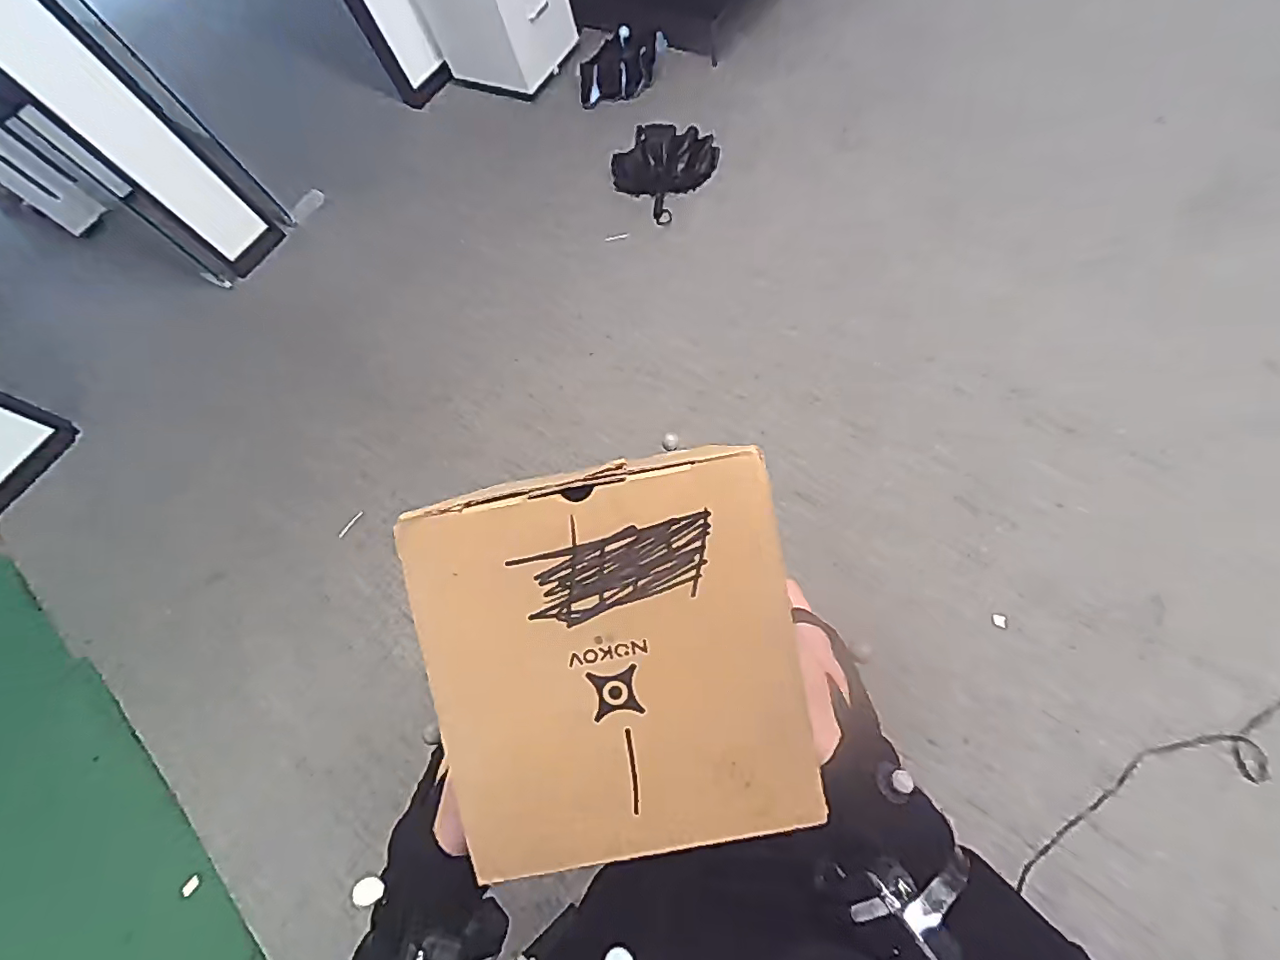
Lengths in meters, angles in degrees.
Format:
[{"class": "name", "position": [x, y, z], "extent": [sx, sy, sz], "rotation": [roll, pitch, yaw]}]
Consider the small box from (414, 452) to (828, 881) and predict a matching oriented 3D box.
[{"class": "small box", "position": [-0.008, 0.082, 0.325], "extent": [0.168, 0.176, 0.179], "rotation": [-11, 94, 1]}]
